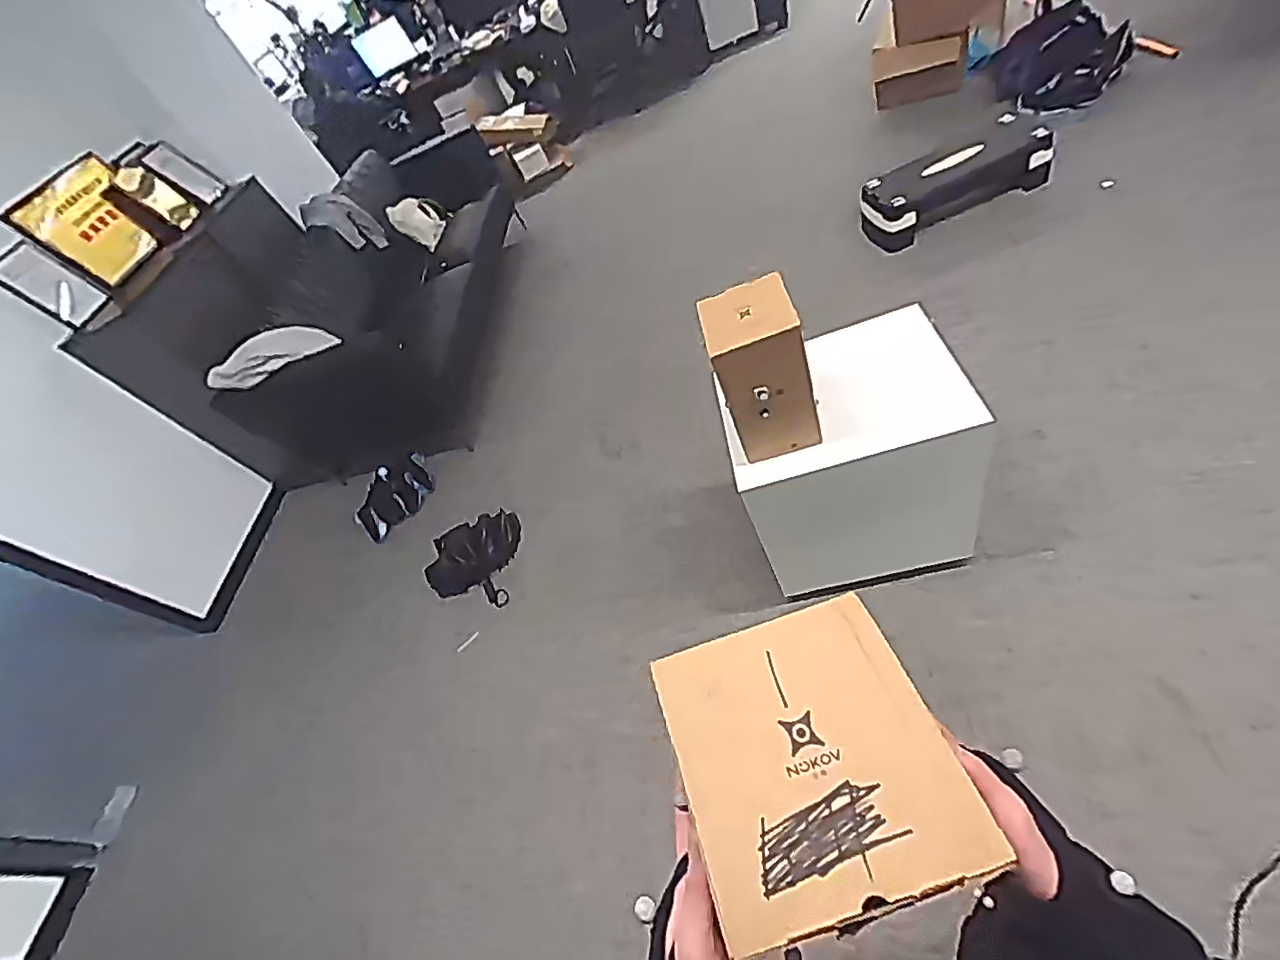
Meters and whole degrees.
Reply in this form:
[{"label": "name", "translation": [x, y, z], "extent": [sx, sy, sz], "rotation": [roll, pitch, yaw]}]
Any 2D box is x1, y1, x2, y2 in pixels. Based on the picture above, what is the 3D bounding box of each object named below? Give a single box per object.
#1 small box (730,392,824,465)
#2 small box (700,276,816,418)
[{"label": "small box", "translation": [0.288, -0.163, 1.170], "extent": [0.168, 0.176, 0.179], "rotation": [-16, 48, 15]}, {"label": "small box", "translation": [0.228, -0.252, 1.048], "extent": [0.168, 0.176, 0.179], "rotation": [-18, 49, 15]}]
